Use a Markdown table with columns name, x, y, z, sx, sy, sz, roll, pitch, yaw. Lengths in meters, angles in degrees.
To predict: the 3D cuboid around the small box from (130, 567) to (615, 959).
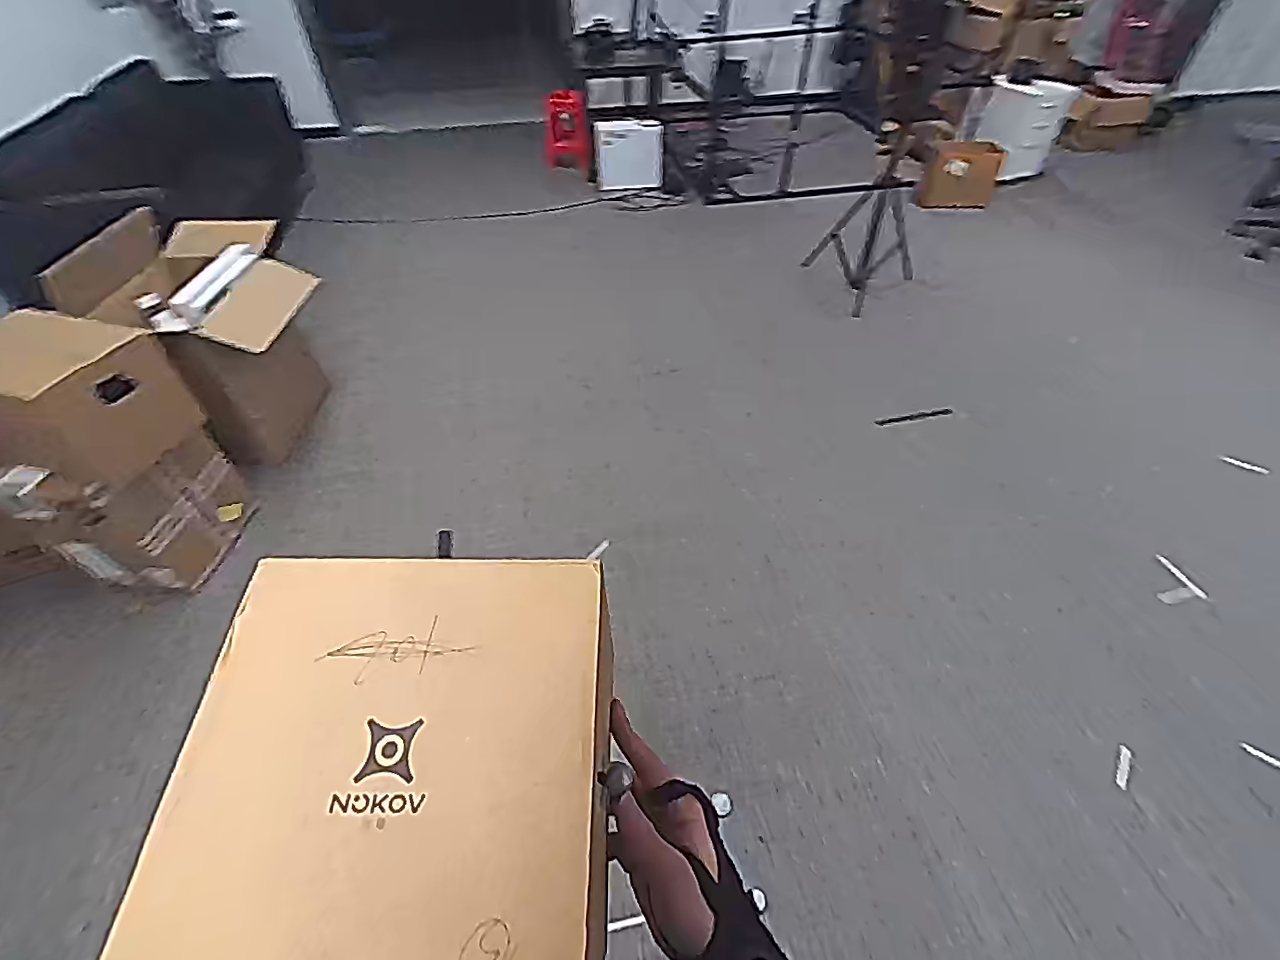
| name | x | y | z | sx | sy | sz | roll | pitch | yaw |
| --- | --- | --- | --- | --- | --- | --- | --- | --- | --- |
| small box | -0.101 | 0.161 | 0.296 | 0.168 | 0.176 | 0.179 | 1 | 58 | -1 |
